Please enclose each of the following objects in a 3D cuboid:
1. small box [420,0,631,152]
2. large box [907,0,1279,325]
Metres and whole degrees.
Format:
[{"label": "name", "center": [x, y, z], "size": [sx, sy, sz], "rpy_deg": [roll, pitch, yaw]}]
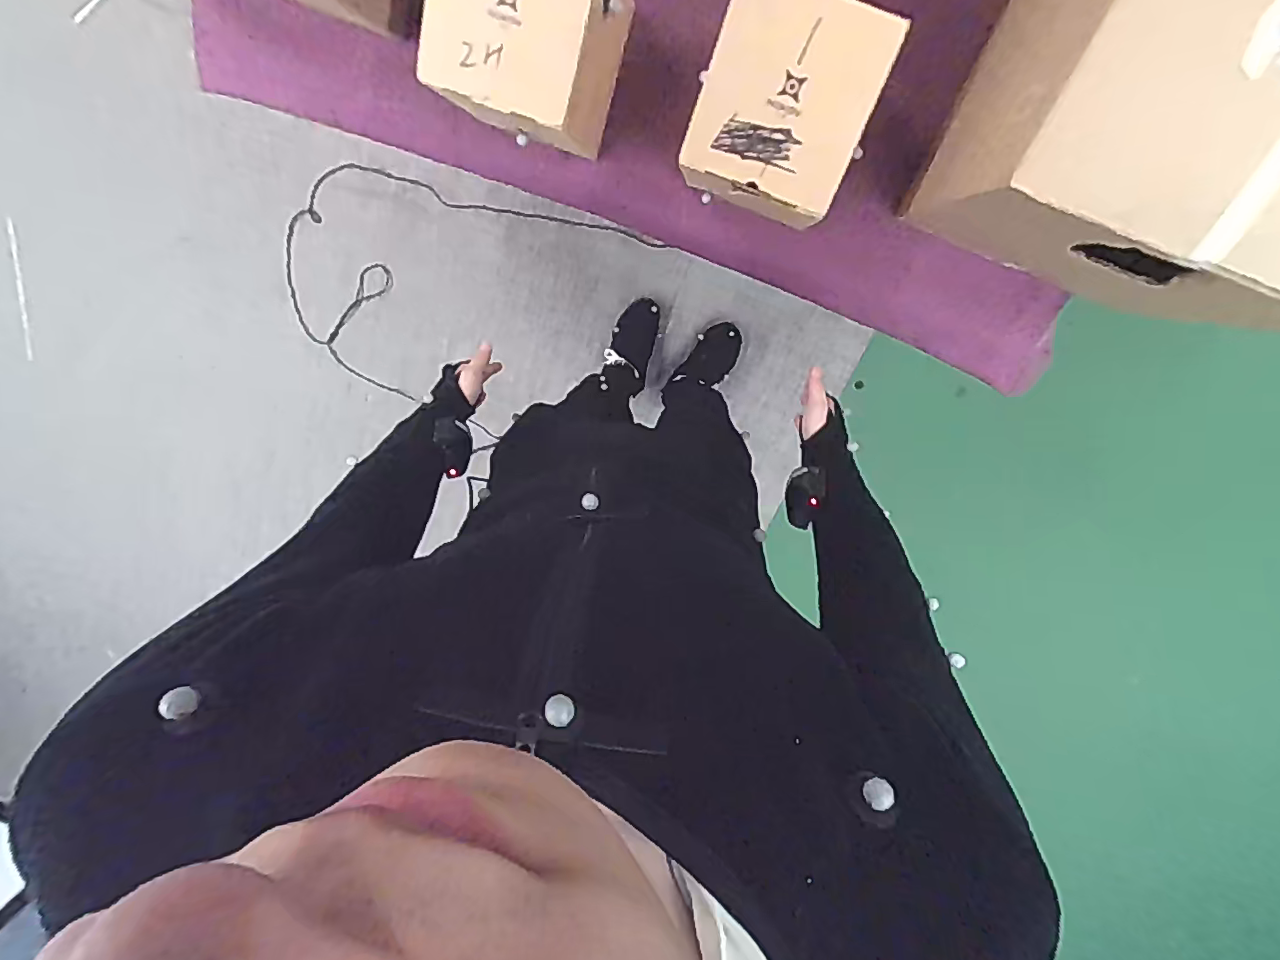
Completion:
[{"label": "small box", "center": [-0.115, -0.498, 0.599], "size": [0.168, 0.176, 0.179], "rpy_deg": [20, 113, 0]}, {"label": "large box", "center": [0.521, -0.393, 0.475], "size": [0.320, 0.320, 0.408], "rpy_deg": [23, 115, 0]}]
